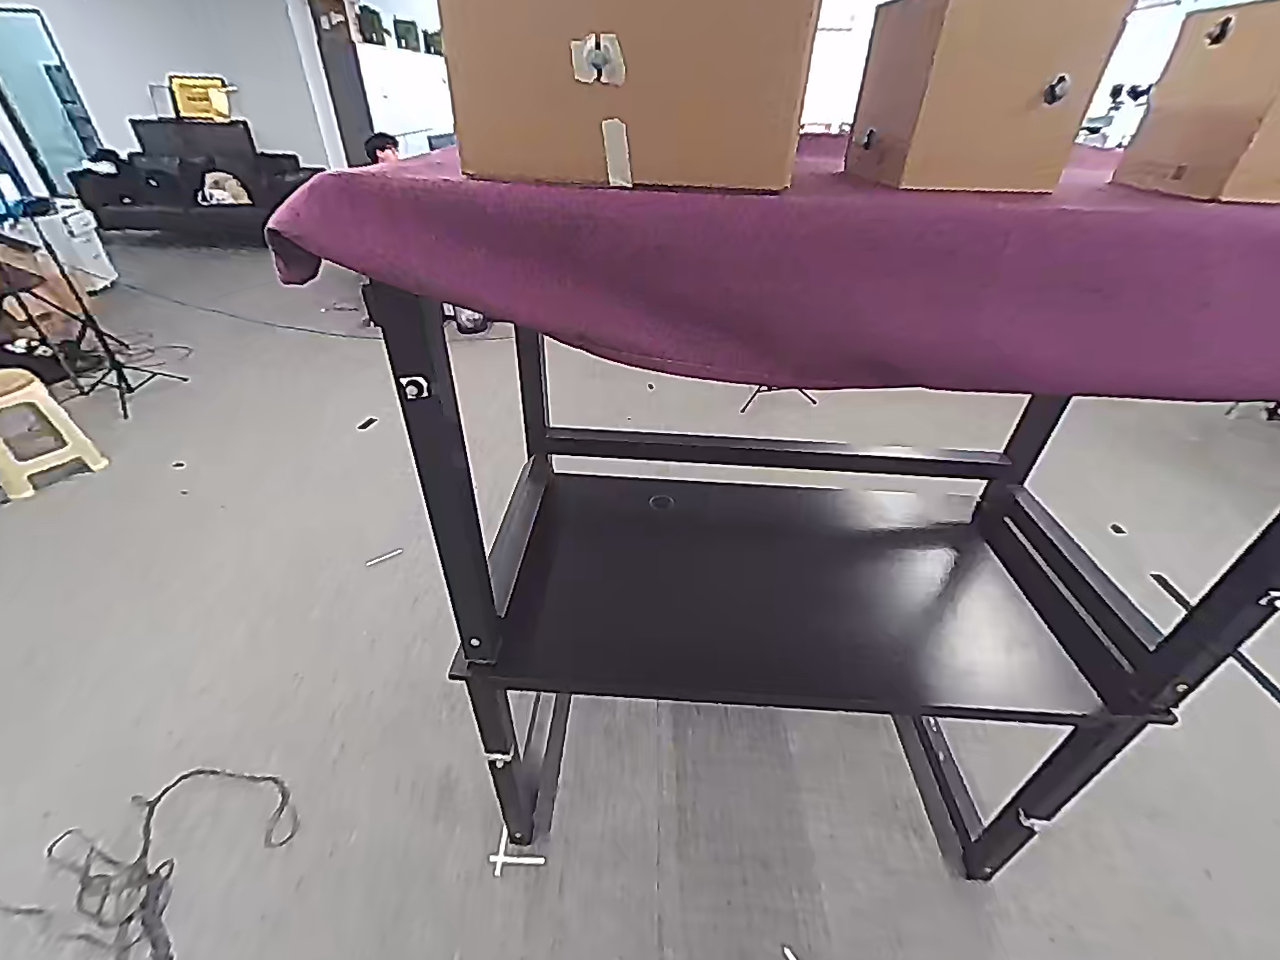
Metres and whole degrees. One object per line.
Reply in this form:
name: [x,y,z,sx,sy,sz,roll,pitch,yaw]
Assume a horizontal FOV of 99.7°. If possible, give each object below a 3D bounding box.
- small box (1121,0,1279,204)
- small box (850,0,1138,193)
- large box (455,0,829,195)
small box: [0.679,-0.393,0.565,0.179,0.176,0.168,3,35,1]
small box: [0.357,-0.418,0.588,0.179,0.176,0.168,-1,35,-3]
large box: [0.011,-0.505,0.576,0.320,0.320,0.408,5,35,3]
